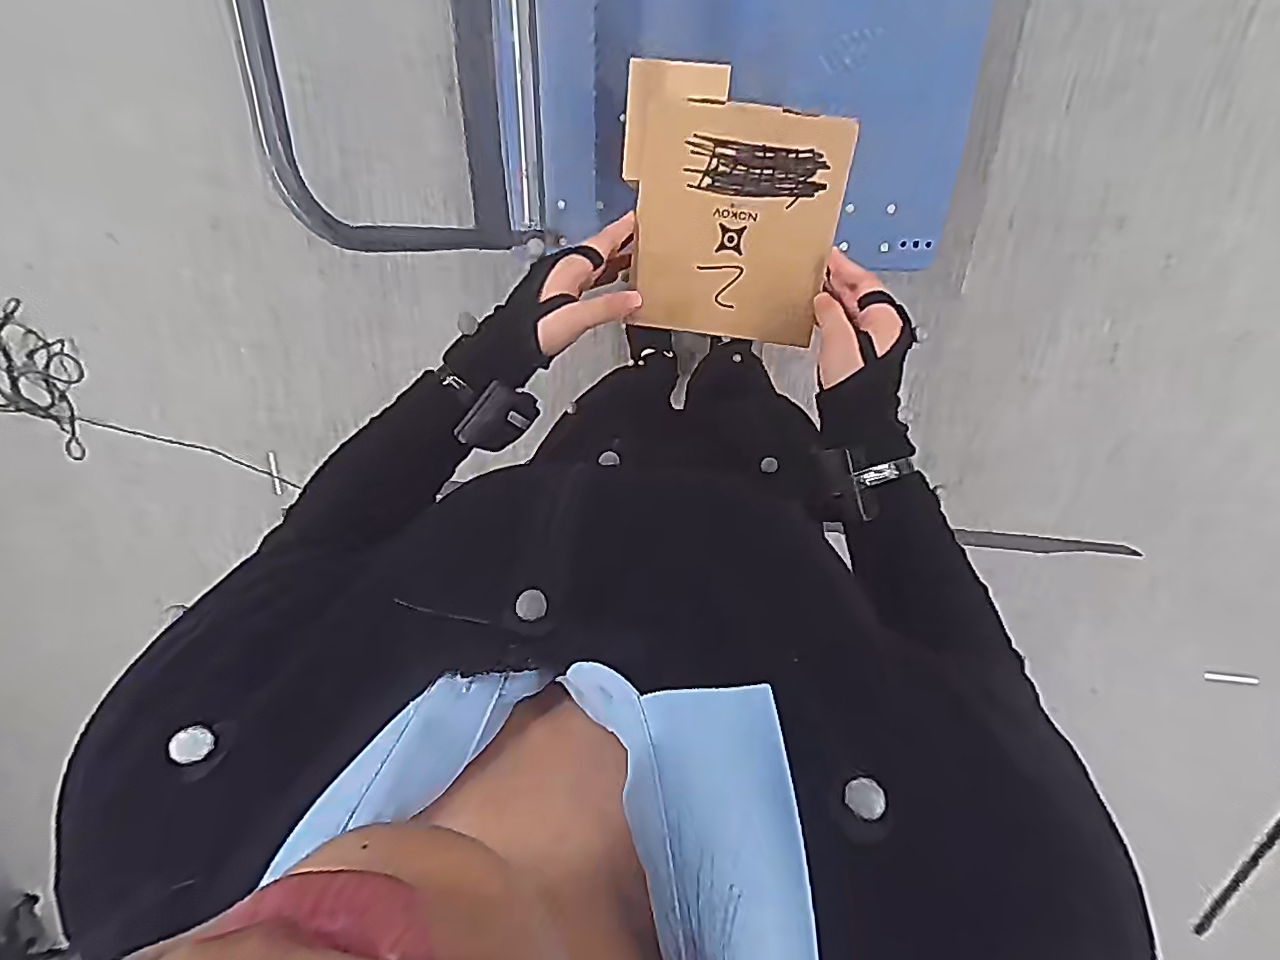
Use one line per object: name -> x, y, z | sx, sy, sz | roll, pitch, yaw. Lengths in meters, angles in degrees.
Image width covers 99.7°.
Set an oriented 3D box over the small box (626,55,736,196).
small box -> 0.071, -0.622, 0.968 | 0.168, 0.176, 0.179 | 7, 114, 3
